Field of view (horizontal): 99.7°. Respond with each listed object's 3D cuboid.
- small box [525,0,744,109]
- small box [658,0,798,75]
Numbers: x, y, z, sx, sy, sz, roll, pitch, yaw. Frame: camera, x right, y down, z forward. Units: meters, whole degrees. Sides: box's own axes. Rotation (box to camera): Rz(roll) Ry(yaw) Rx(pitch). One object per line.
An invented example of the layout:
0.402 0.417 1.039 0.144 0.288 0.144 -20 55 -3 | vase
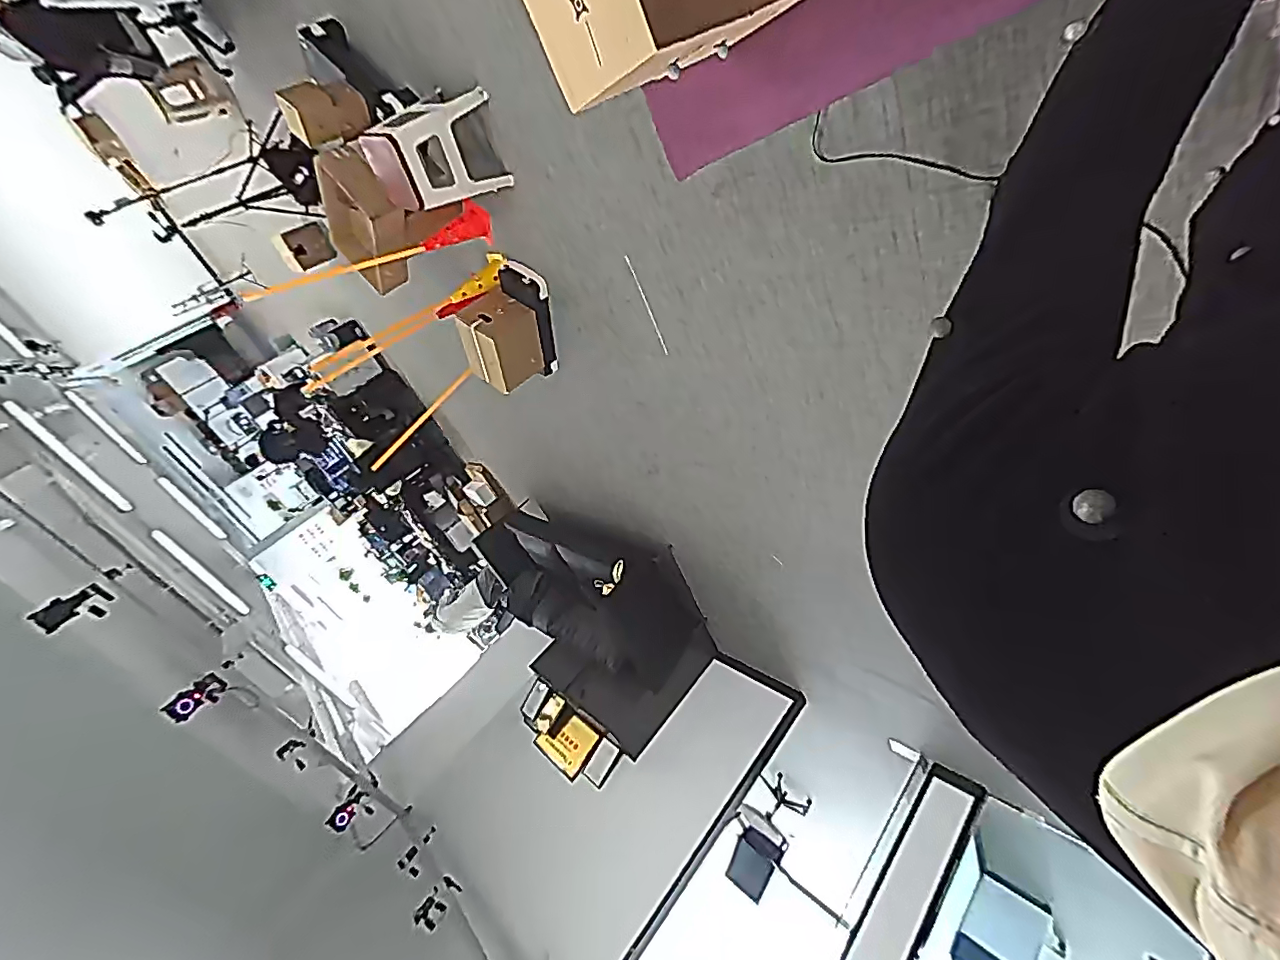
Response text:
-0.013 -0.565 0.606 0.168 0.176 0.179 12 138 50 | small box
0.095 -0.663 0.680 0.168 0.176 0.179 11 136 50 | small box
